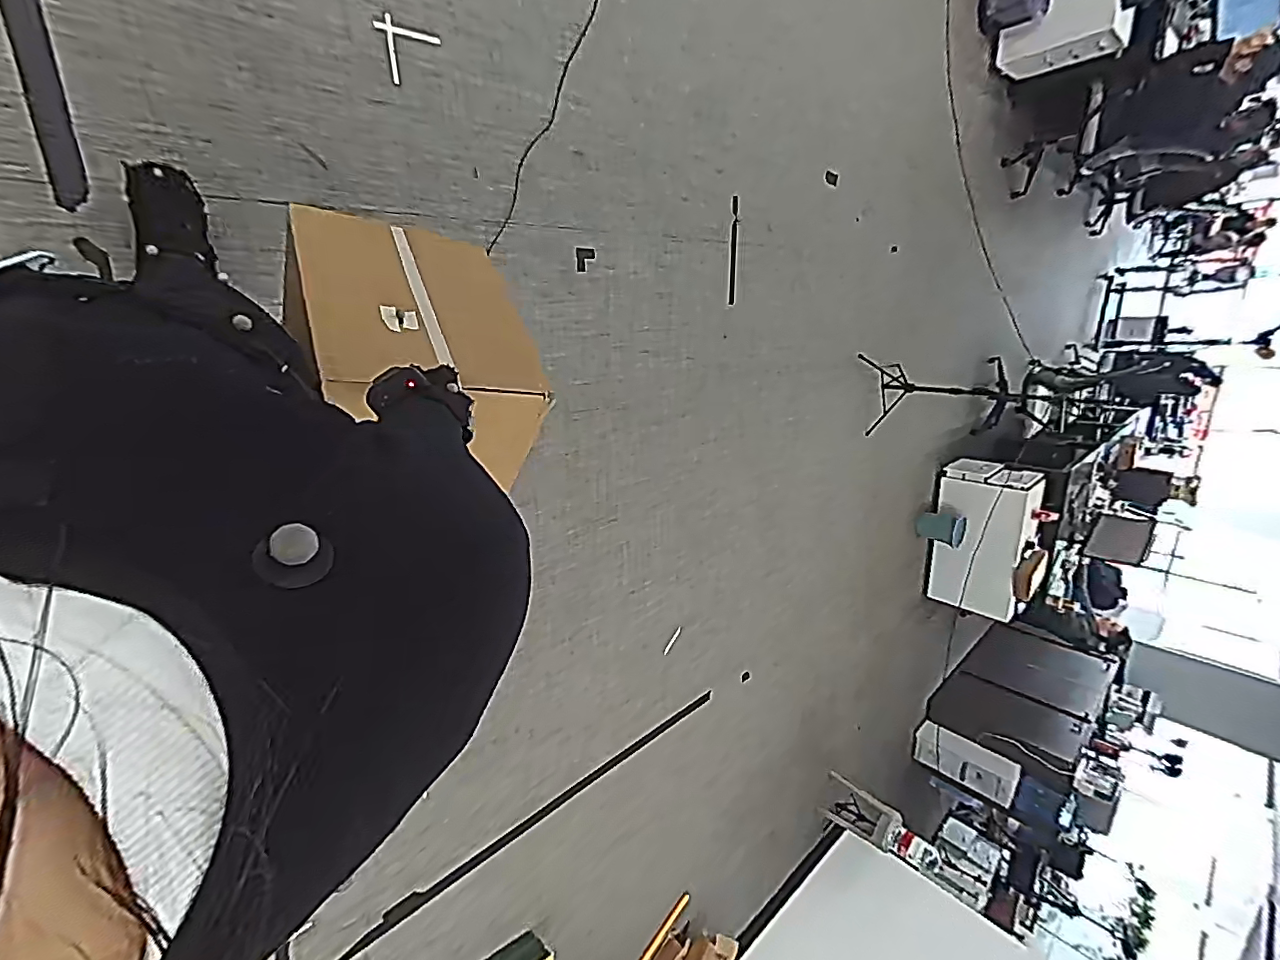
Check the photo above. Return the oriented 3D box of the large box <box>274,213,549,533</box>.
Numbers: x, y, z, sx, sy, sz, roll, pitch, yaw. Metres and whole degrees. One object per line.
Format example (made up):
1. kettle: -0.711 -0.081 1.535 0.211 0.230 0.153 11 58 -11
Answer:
1. large box: -0.412 -0.170 0.921 0.320 0.408 0.320 -4 143 -38
